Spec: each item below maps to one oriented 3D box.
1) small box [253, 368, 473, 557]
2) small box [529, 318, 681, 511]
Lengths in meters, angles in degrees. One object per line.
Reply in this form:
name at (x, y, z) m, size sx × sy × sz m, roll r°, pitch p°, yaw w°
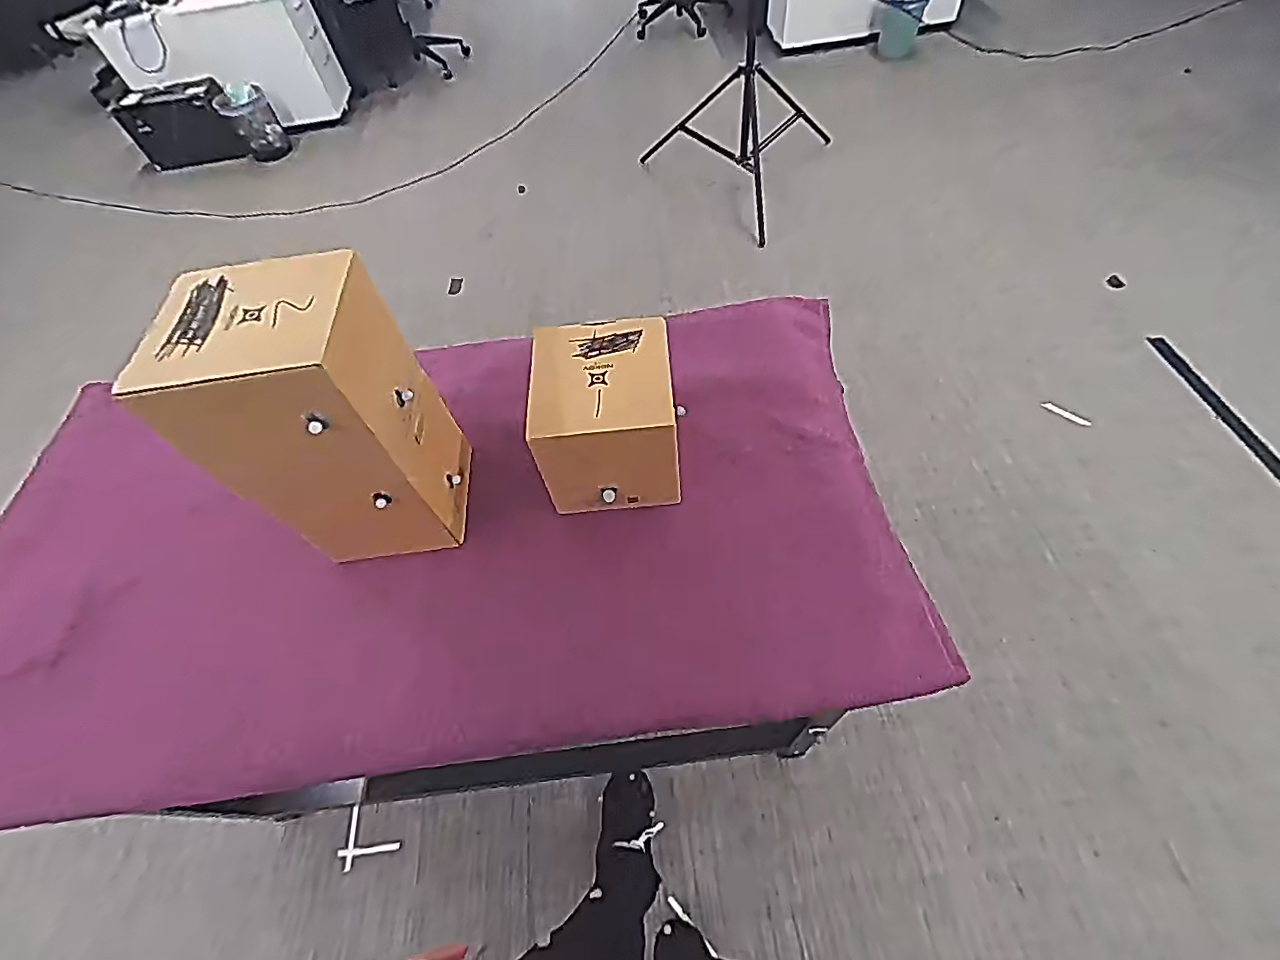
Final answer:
small box at (-0.332, -0.015, 0.690) m, size 0.179 × 0.176 × 0.168 m, roll -8°, pitch 56°, yaw 1°
small box at (-0.036, -0.080, 0.696) m, size 0.168 × 0.176 × 0.179 m, roll -5°, pitch 57°, yaw 3°
